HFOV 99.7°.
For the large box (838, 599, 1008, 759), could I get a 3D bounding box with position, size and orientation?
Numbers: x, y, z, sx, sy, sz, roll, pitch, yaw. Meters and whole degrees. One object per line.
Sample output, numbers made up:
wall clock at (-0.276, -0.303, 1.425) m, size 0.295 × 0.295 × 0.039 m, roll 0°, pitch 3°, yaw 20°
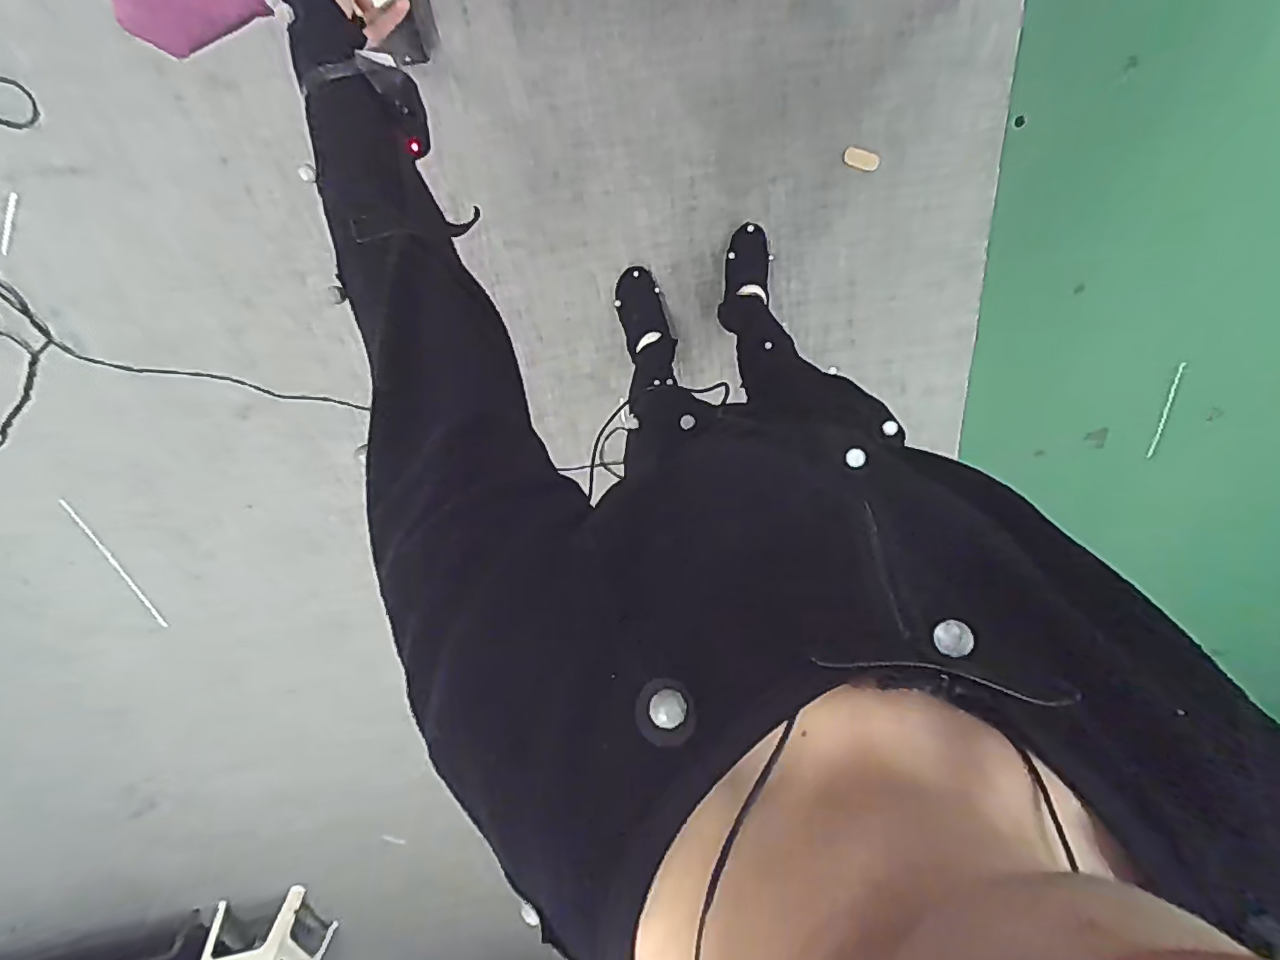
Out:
large box at (0.971, 0.686, 1.885) m, size 0.408 × 0.320 × 0.320 m, roll -24°, pitch 118°, yaw 5°
